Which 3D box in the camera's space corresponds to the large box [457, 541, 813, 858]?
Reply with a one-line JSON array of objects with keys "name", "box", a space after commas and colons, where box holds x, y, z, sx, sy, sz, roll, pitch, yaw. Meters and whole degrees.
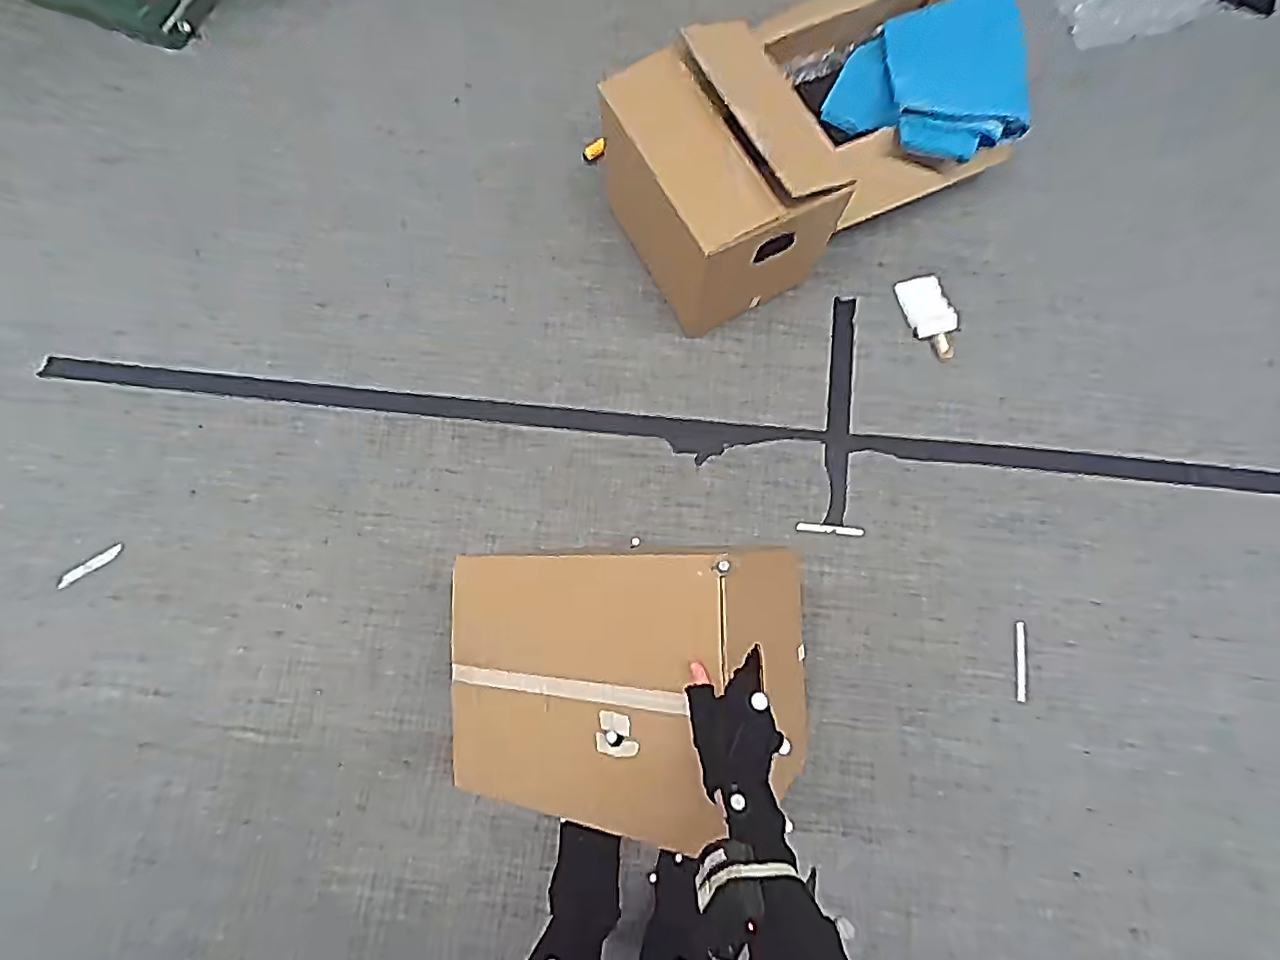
[{"name": "large box", "box": [0.000, 0.251, 0.765, 0.408, 0.320, 0.320, -6, 84, 29]}]
